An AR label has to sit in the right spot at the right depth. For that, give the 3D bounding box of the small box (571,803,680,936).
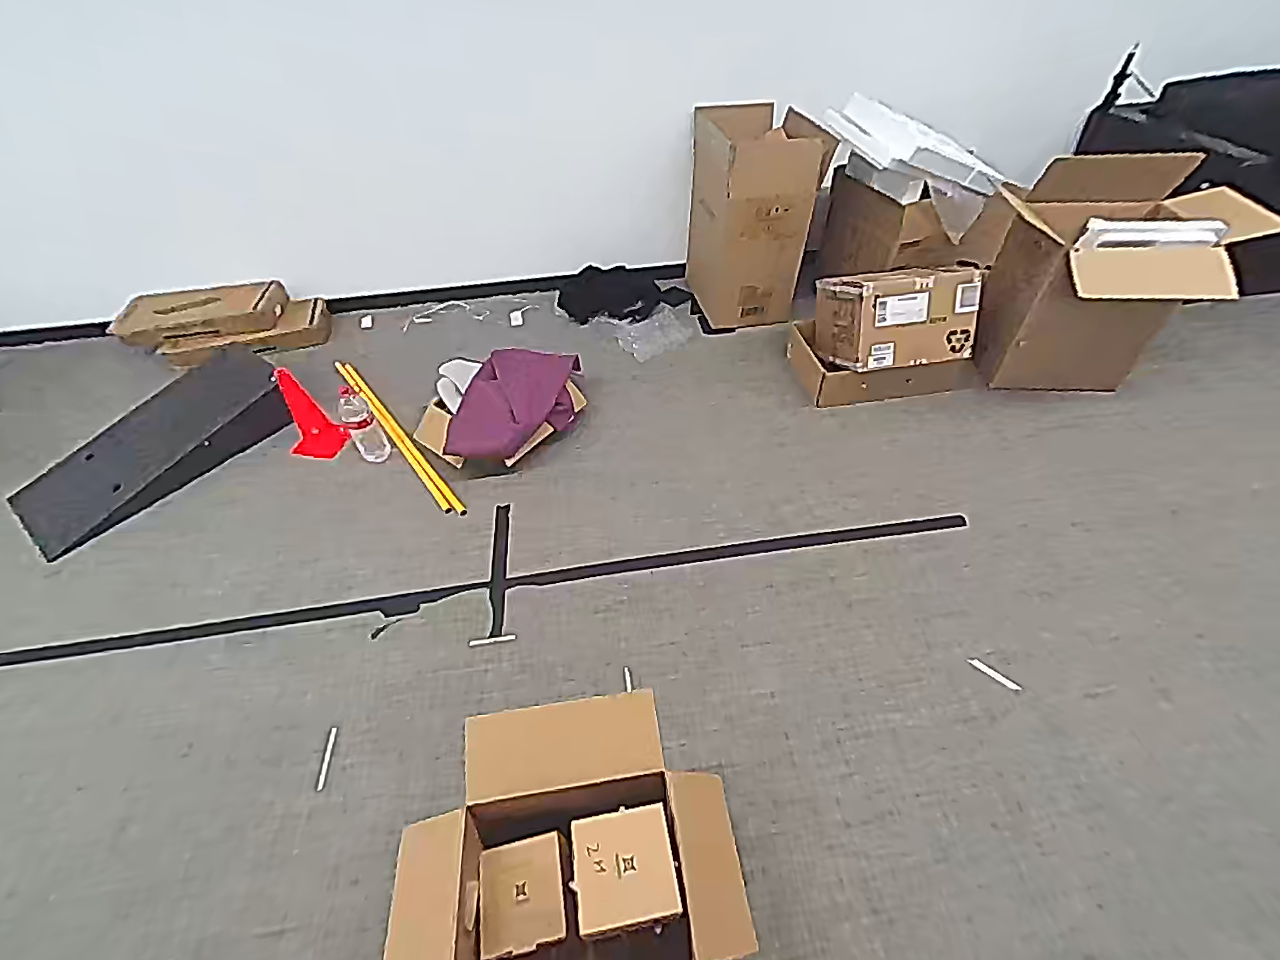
[{"bbox_3d":[-0.030,0.730,1.012,0.179,0.176,0.168,-8,47,-7],"label":"small box"}]
